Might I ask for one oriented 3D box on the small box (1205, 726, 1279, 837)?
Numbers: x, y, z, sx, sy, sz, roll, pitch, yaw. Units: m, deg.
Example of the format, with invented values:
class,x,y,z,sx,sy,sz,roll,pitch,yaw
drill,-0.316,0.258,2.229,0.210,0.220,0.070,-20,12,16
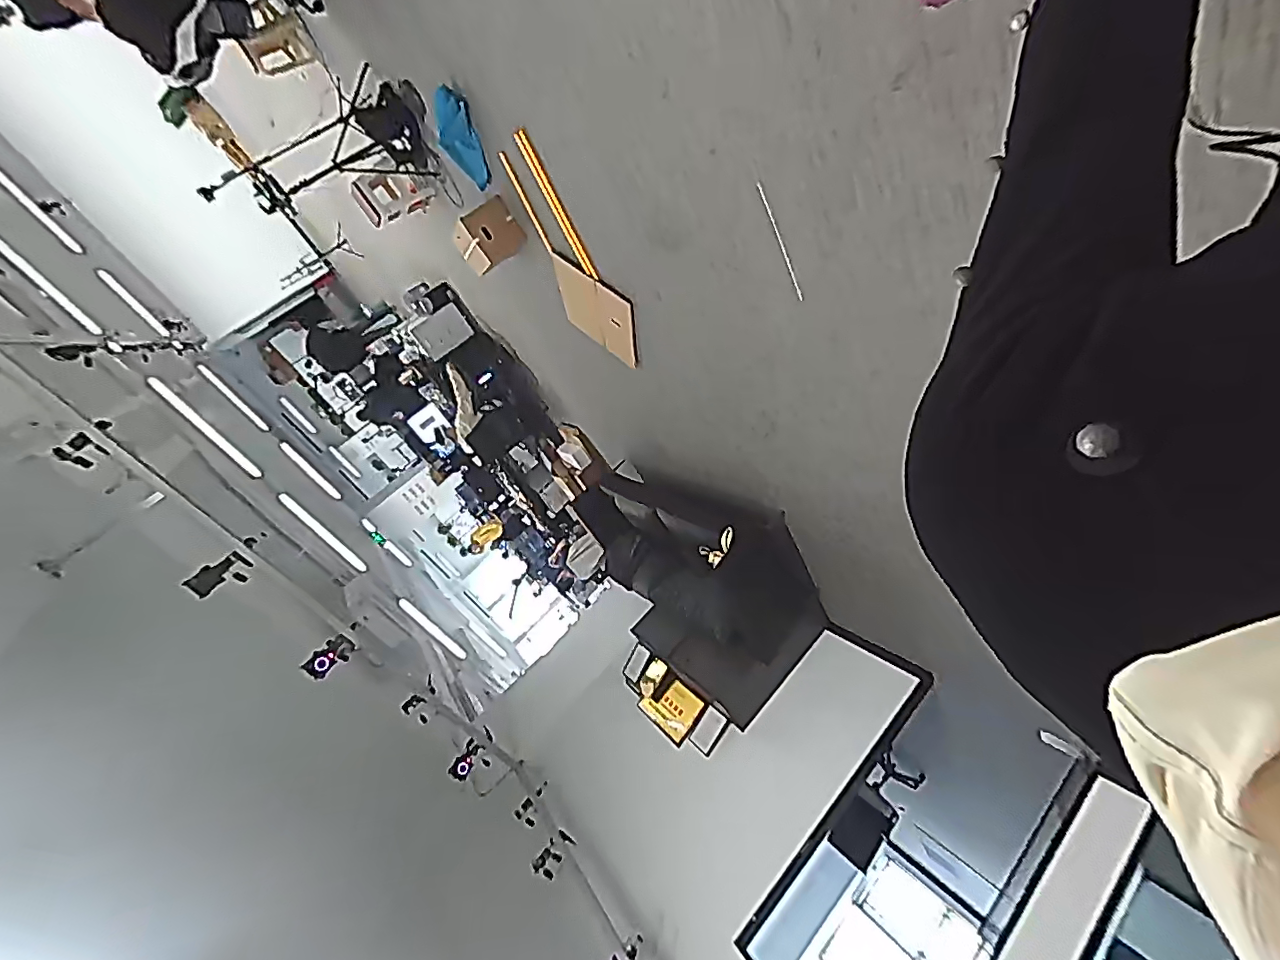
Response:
class,x,y,z,sx,sy,sz,roll,pitch,yaw
small box,1.555,0.746,1.332,0.168,0.176,0.179,27,155,49
